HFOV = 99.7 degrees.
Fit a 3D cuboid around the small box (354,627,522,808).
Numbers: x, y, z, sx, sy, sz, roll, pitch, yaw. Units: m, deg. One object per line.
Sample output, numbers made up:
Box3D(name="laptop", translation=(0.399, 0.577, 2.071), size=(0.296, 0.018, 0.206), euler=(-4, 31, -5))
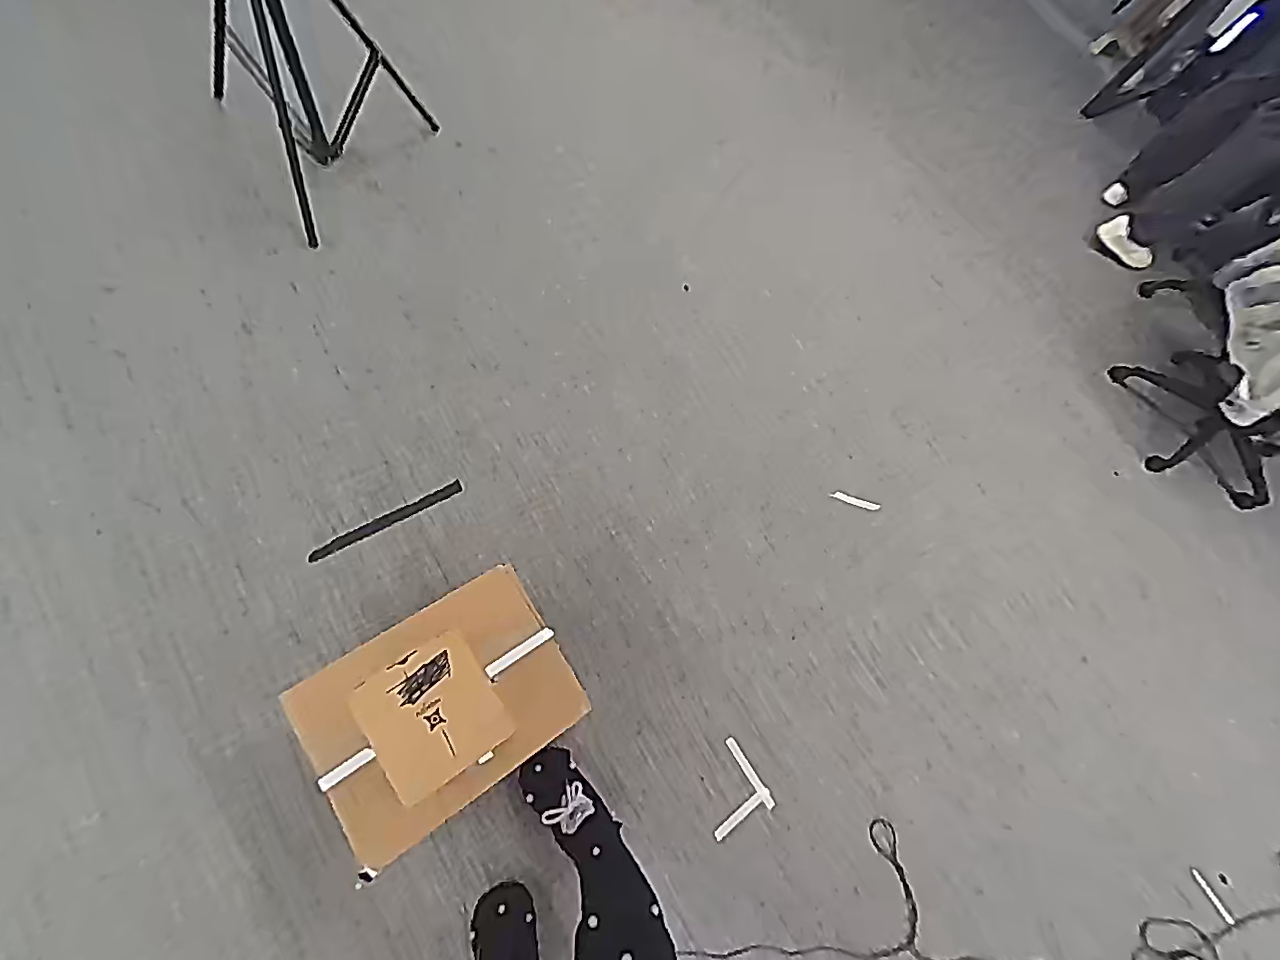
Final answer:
Box3D(name="small box", translation=(-0.295, 0.349, 0.817), size=(0.168, 0.176, 0.179), euler=(-31, 80, -22))
